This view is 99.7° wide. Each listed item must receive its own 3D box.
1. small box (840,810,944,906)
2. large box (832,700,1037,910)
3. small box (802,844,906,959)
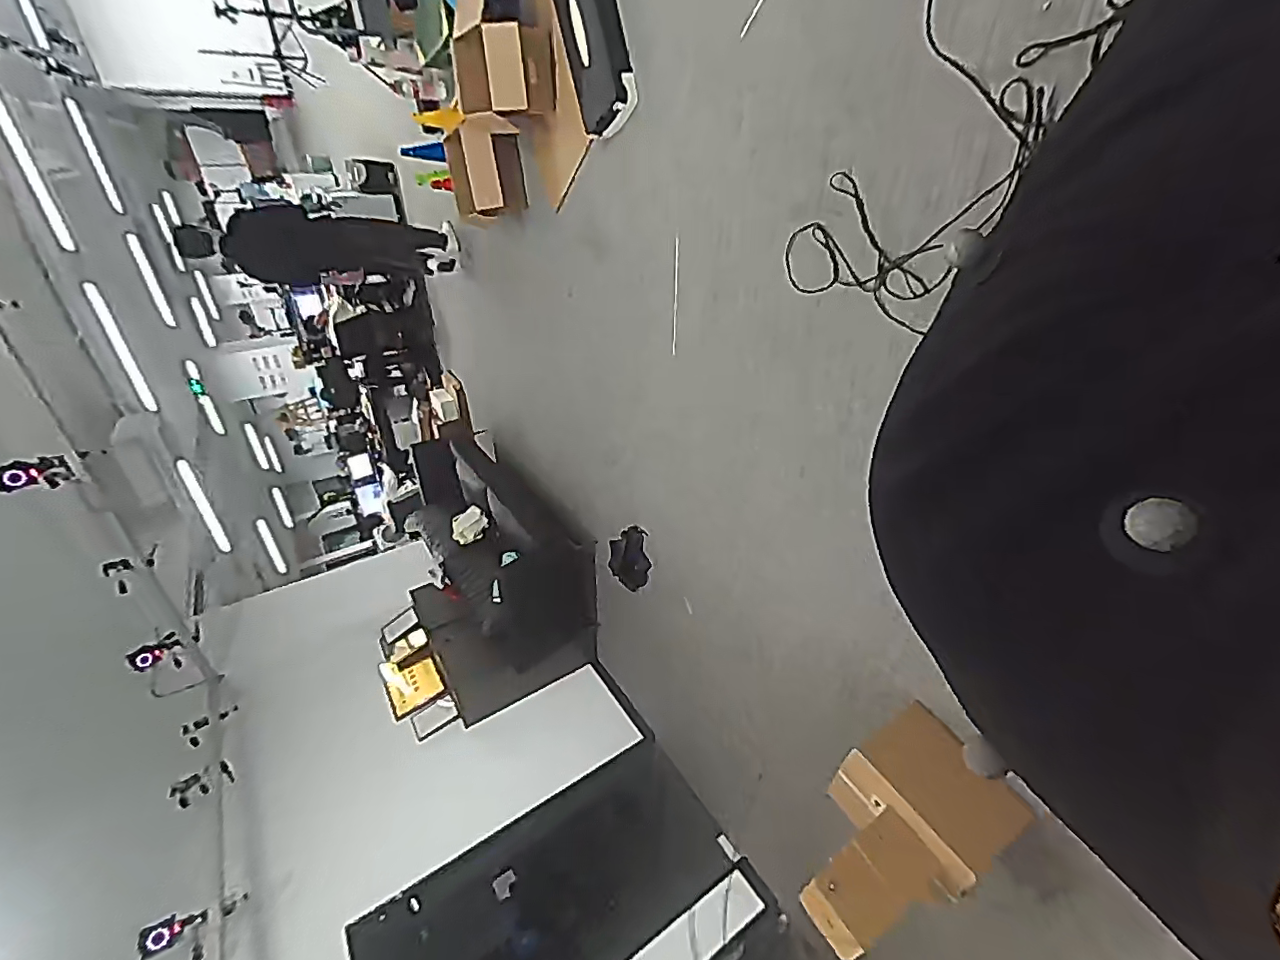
[{"bbox_3d":[0.707,1.072,1.525,0.179,0.176,0.168,45,144,38],"label":"small box"},{"bbox_3d":[0.885,0.983,1.669,0.408,0.320,0.320,46,142,40],"label":"large box"},{"bbox_3d":[0.574,1.135,1.455,0.179,0.176,0.168,46,144,40],"label":"small box"}]
